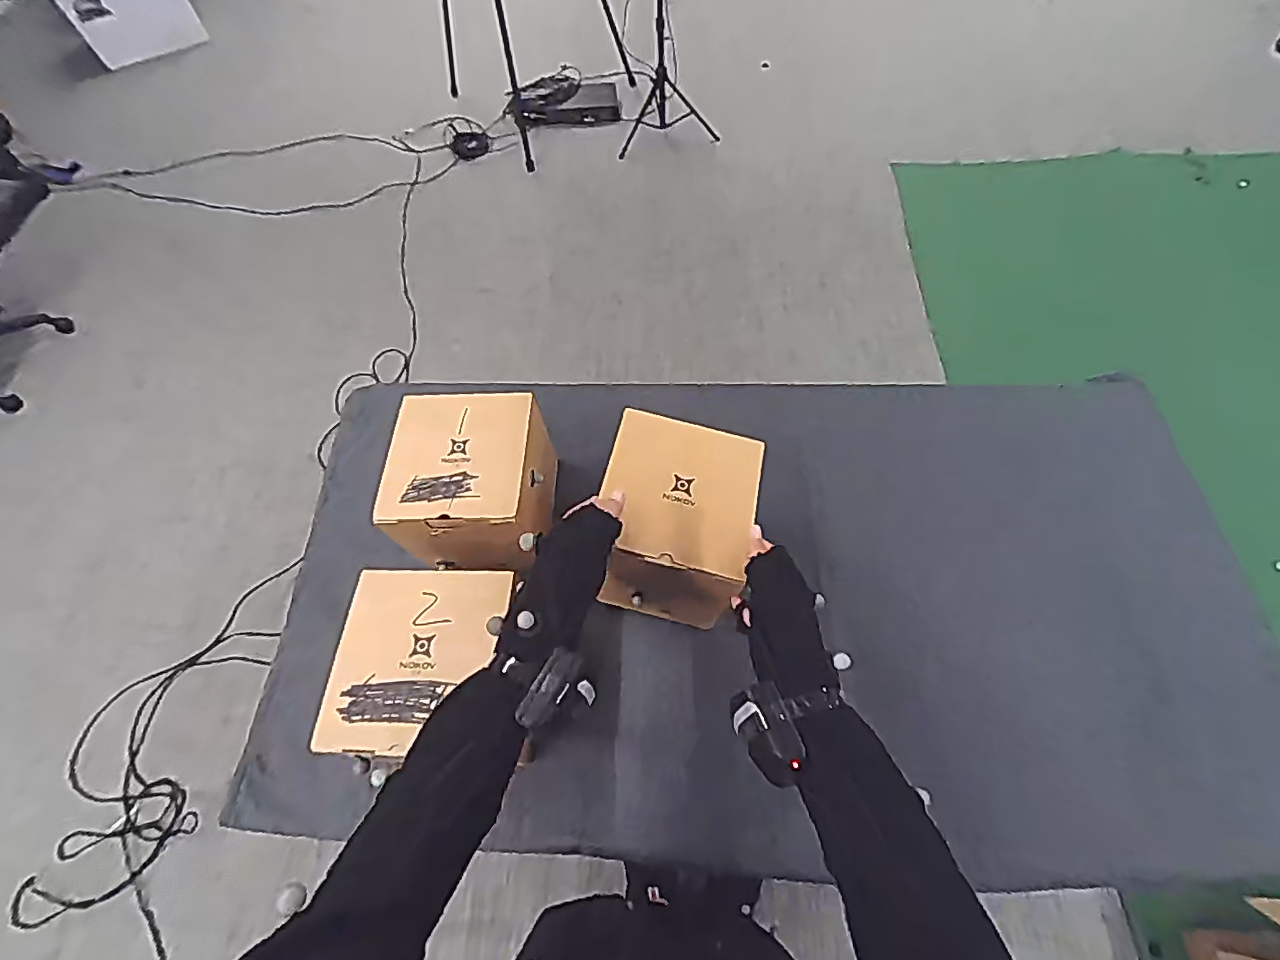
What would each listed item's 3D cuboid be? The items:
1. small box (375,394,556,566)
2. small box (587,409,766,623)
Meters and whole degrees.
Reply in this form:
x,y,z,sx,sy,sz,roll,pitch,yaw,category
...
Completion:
x,y,z,sx,sy,sz,roll,pitch,yaw,category
-0.210,0.008,0.707,0.168,0.176,0.179,-1,61,3,small box
0.036,0.050,0.641,0.168,0.176,0.179,15,61,0,small box
